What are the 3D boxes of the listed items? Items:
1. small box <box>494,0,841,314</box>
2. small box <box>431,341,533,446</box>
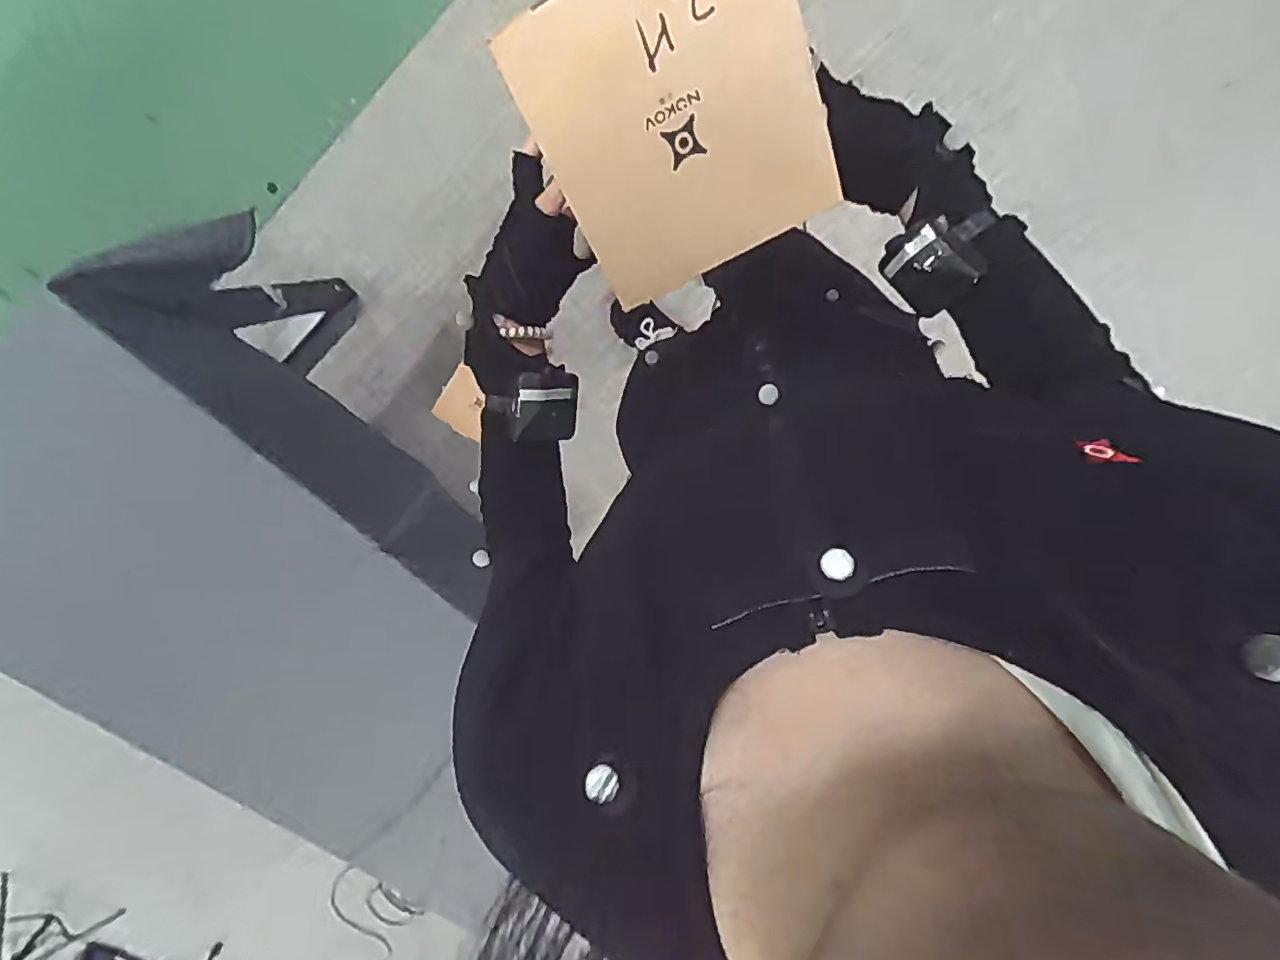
[{"bbox_3d":[0.023,-0.257,0.393,0.168,0.176,0.179,-22,124,12],"label":"small box"},{"bbox_3d":[-0.385,-0.221,1.350,0.168,0.176,0.179,34,109,-16],"label":"small box"}]
